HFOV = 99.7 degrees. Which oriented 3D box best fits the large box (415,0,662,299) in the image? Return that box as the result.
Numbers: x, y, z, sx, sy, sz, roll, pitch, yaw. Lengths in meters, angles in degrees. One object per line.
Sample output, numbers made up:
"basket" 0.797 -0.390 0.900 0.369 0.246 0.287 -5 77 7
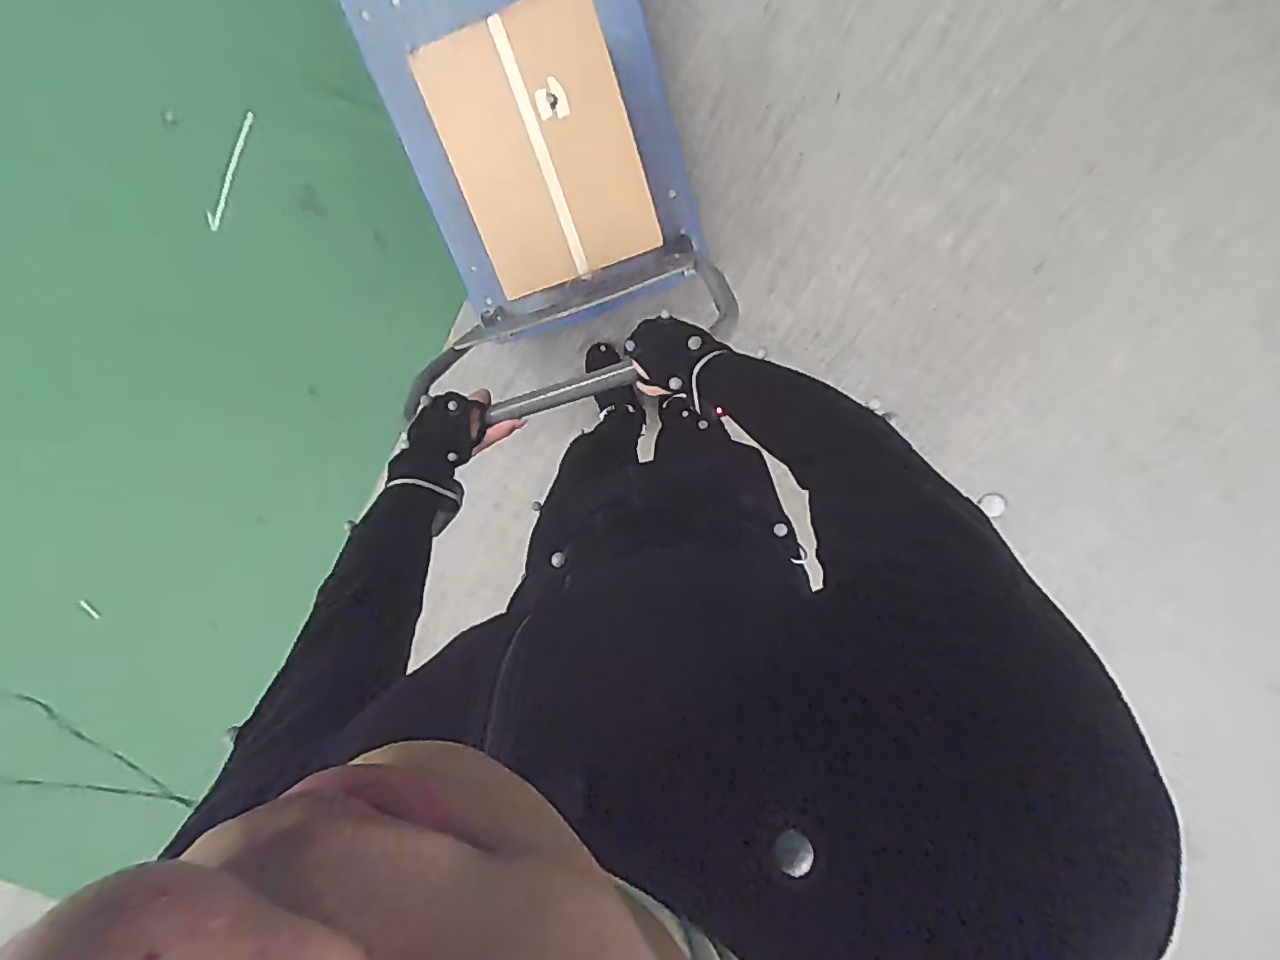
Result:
"large box" -0.160 -0.620 1.079 0.320 0.320 0.408 -16 112 8
